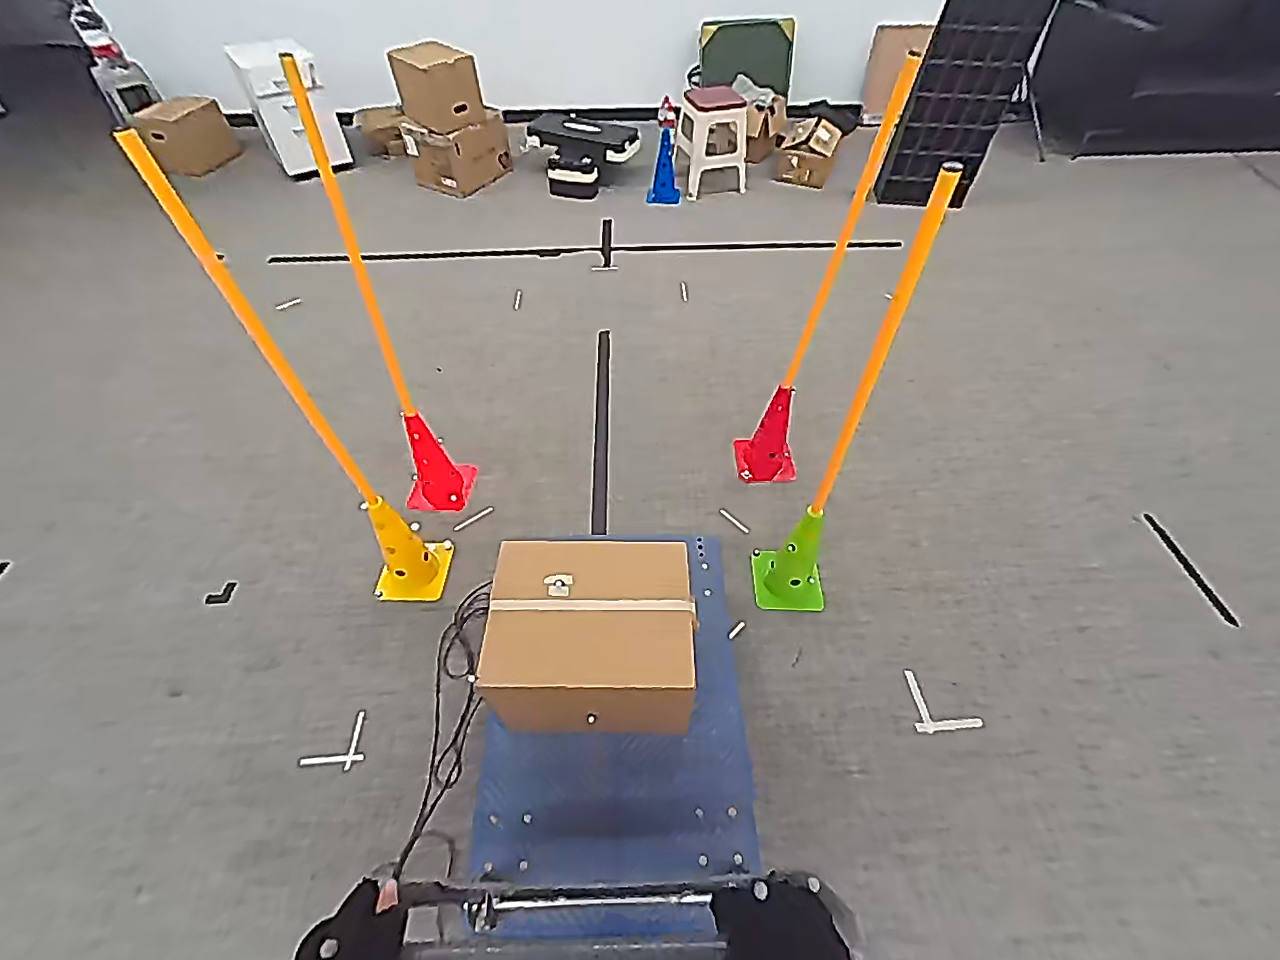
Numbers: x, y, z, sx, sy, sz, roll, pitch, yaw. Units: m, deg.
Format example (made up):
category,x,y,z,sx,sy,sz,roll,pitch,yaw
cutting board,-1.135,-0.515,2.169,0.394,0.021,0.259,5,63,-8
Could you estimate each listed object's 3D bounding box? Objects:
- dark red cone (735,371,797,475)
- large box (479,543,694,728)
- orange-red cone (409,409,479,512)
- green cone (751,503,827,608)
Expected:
category,x,y,z,sx,sy,sz,roll,pitch,yaw
dark red cone,0.453,-0.198,1.808,0.201,0.394,0.202,0,51,-3
large box,-0.096,0.352,1.200,0.408,0.320,0.320,0,51,1
orange-red cone,-0.674,-0.087,1.745,0.198,0.360,0.199,5,50,3
green cone,0.449,0.190,1.515,0.202,0.368,0.200,2,51,0
